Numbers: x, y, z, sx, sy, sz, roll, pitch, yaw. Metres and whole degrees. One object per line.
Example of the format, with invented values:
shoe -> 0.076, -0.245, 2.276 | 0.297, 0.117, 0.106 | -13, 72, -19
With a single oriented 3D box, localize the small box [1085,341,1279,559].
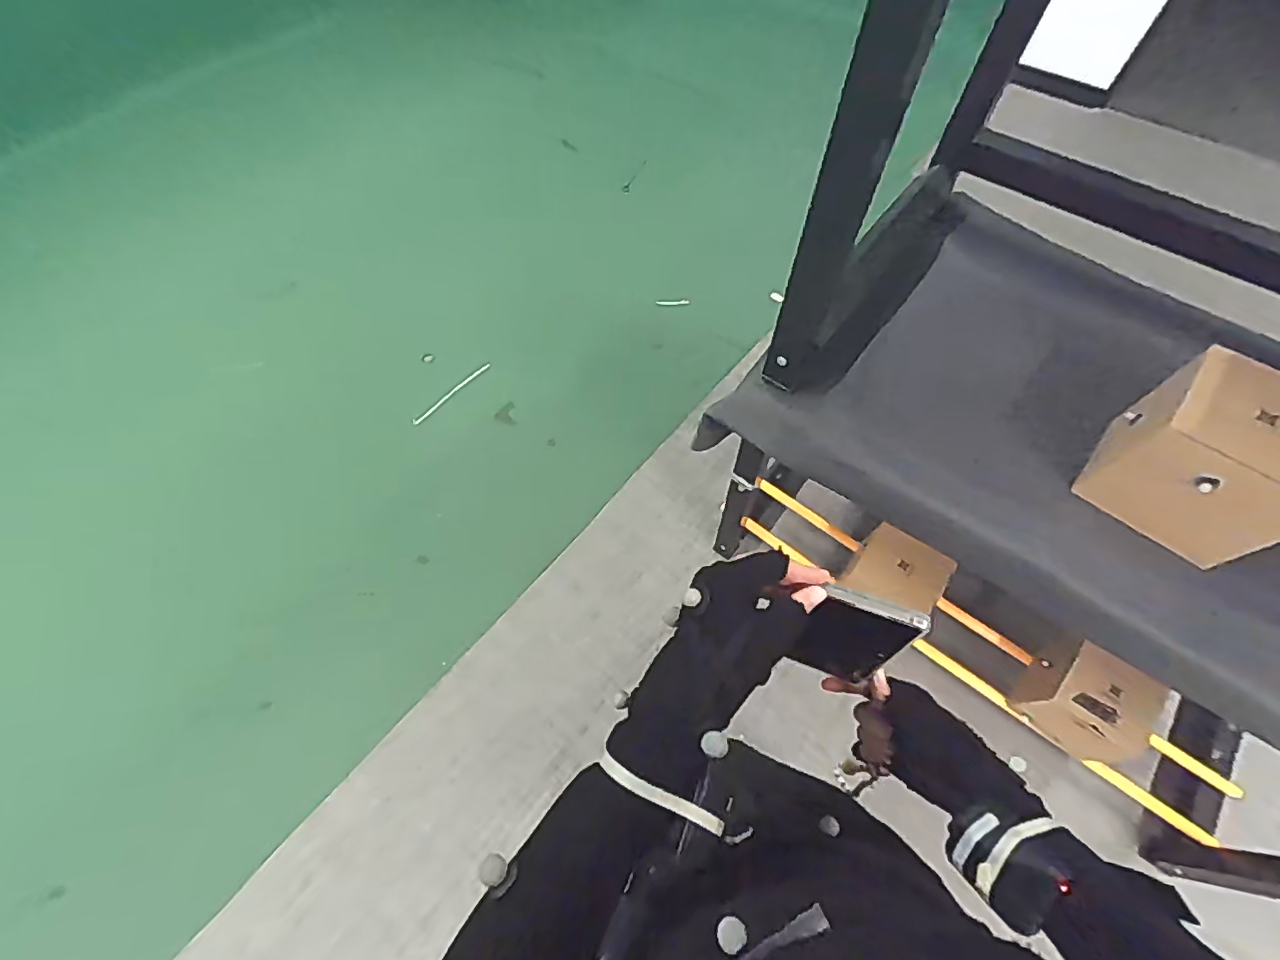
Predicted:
small box -> 0.717, -0.030, 0.671 | 0.179, 0.176, 0.168 | 38, 70, 19

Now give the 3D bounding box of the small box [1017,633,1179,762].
small box -> 0.928, 0.452, 1.115 | 0.168, 0.176, 0.179 | 39, 70, 19
